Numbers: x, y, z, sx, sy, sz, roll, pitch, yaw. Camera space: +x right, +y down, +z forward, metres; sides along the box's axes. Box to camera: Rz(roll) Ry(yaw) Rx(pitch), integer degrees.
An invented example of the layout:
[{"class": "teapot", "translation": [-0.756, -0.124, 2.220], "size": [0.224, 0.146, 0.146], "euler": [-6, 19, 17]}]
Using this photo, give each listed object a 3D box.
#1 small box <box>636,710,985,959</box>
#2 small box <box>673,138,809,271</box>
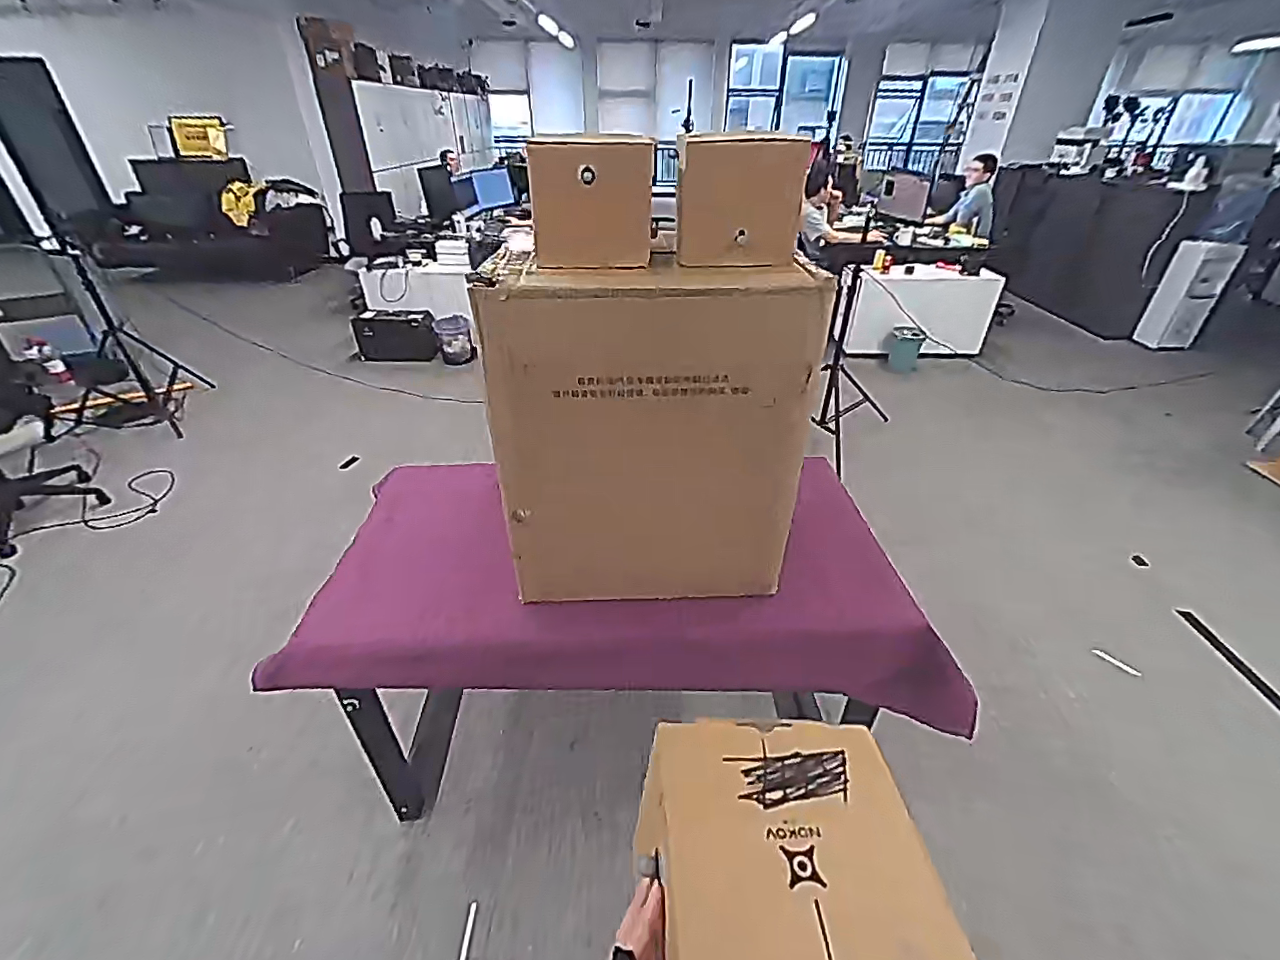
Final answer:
[{"class": "small box", "translation": [0.090, 0.289, 0.377], "size": [0.168, 0.176, 0.179], "euler": [2, 29, -7]}, {"class": "small box", "translation": [0.148, -0.439, 0.860], "size": [0.179, 0.176, 0.168], "euler": [-1, 34, -1]}]
